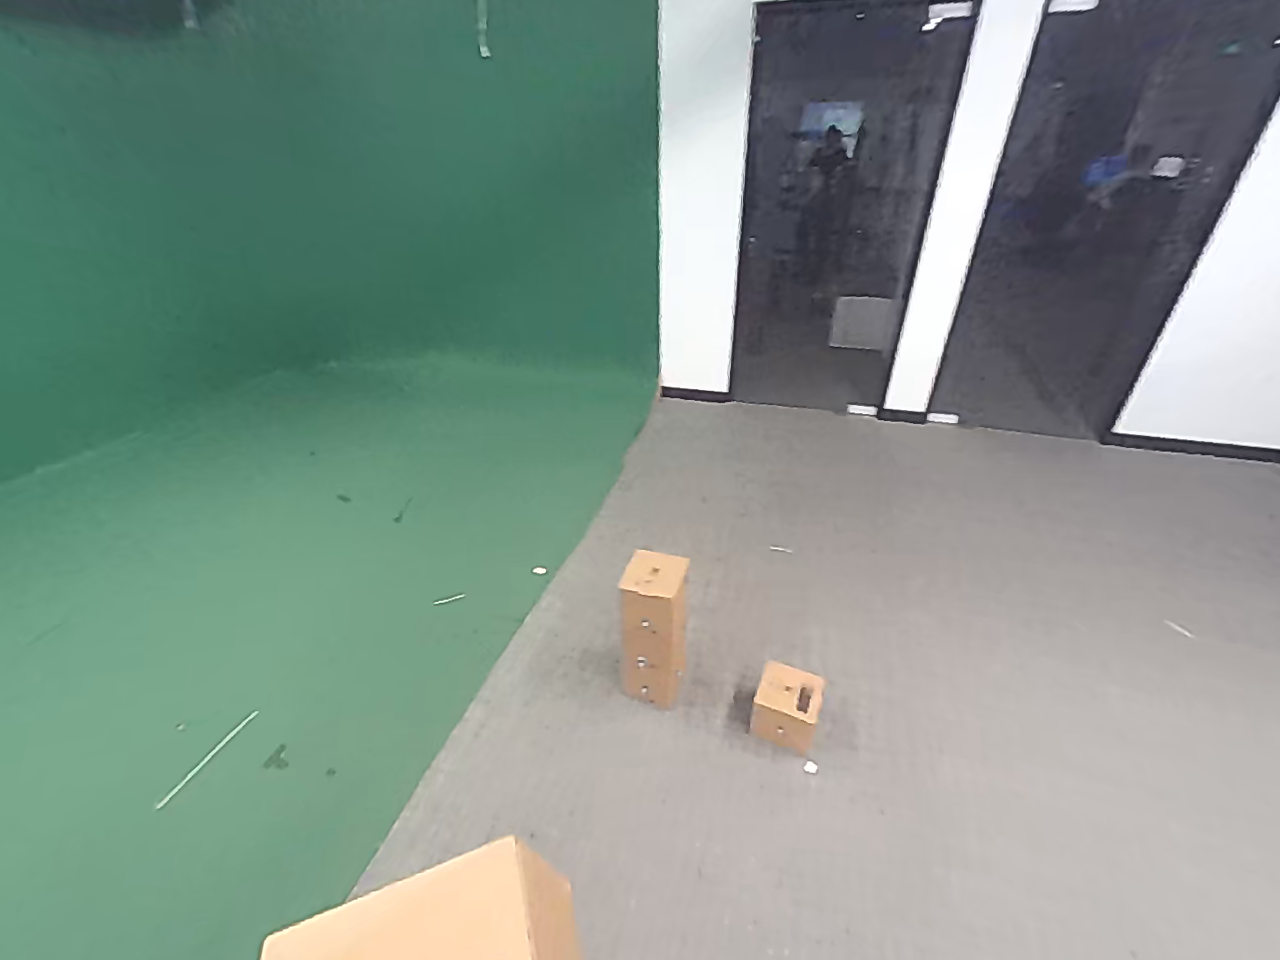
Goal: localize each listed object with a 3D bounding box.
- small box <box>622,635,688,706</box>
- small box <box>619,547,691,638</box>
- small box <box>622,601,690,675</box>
[{"bbox_3d":[0.053,0.597,1.752,0.168,0.176,0.179,11,36,19],"label":"small box"},{"bbox_3d":[0.047,0.325,1.569,0.168,0.176,0.179,8,34,17],"label":"small box"},{"bbox_3d":[0.051,0.462,1.662,0.168,0.176,0.179,8,35,17],"label":"small box"}]
